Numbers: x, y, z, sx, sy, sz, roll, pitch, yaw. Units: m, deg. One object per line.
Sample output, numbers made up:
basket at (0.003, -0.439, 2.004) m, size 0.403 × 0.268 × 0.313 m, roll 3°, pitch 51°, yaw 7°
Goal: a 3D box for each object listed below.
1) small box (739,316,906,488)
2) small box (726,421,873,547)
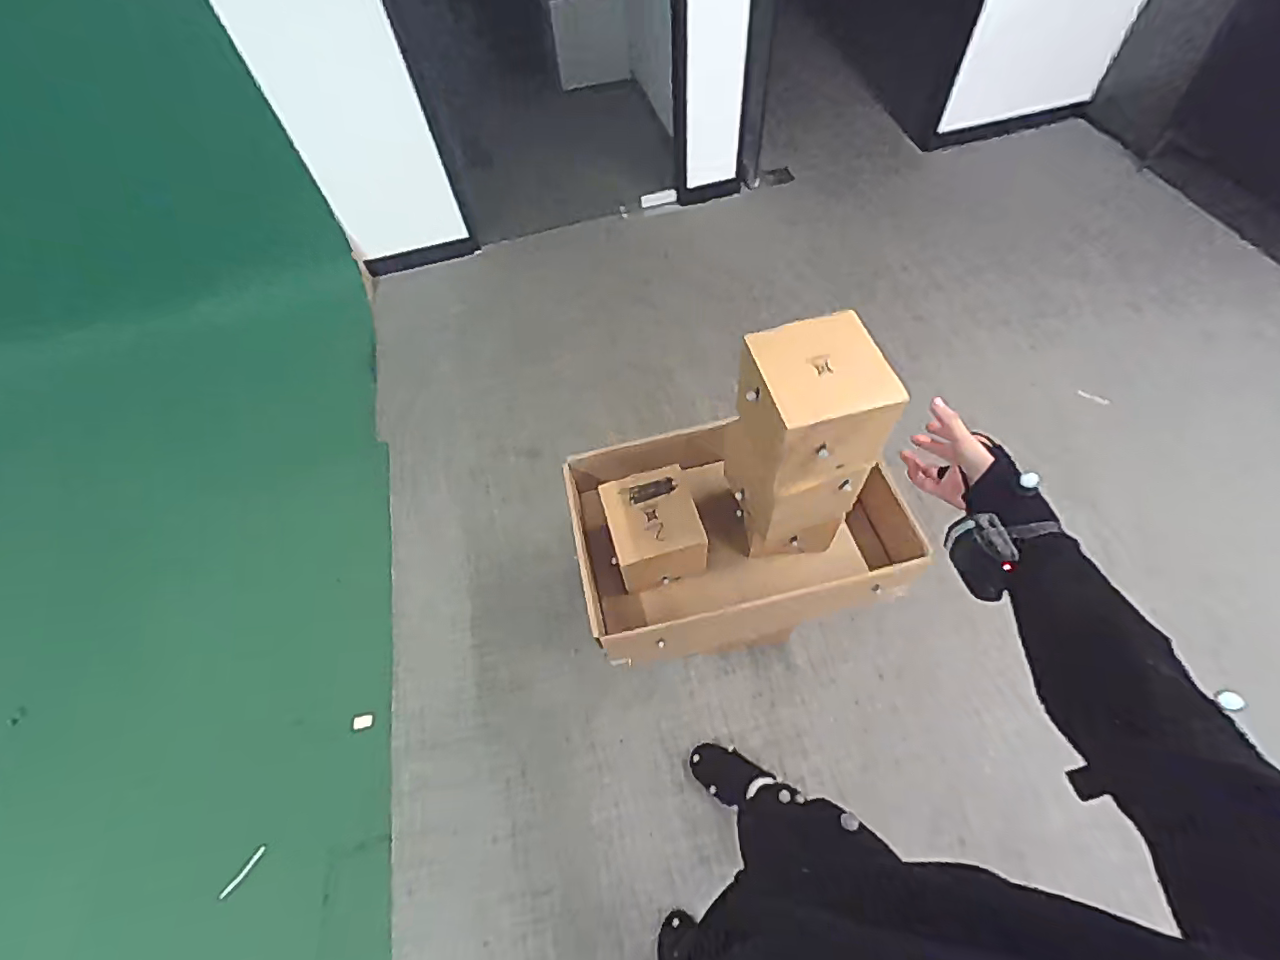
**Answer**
small box at (0.251, -0.104, 0.793) m, size 0.168 × 0.176 × 0.179 m, roll -14°, pitch 57°, yaw -2°
small box at (0.259, -0.012, 0.927) m, size 0.179 × 0.176 × 0.168 m, roll -21°, pitch 58°, yaw -6°
